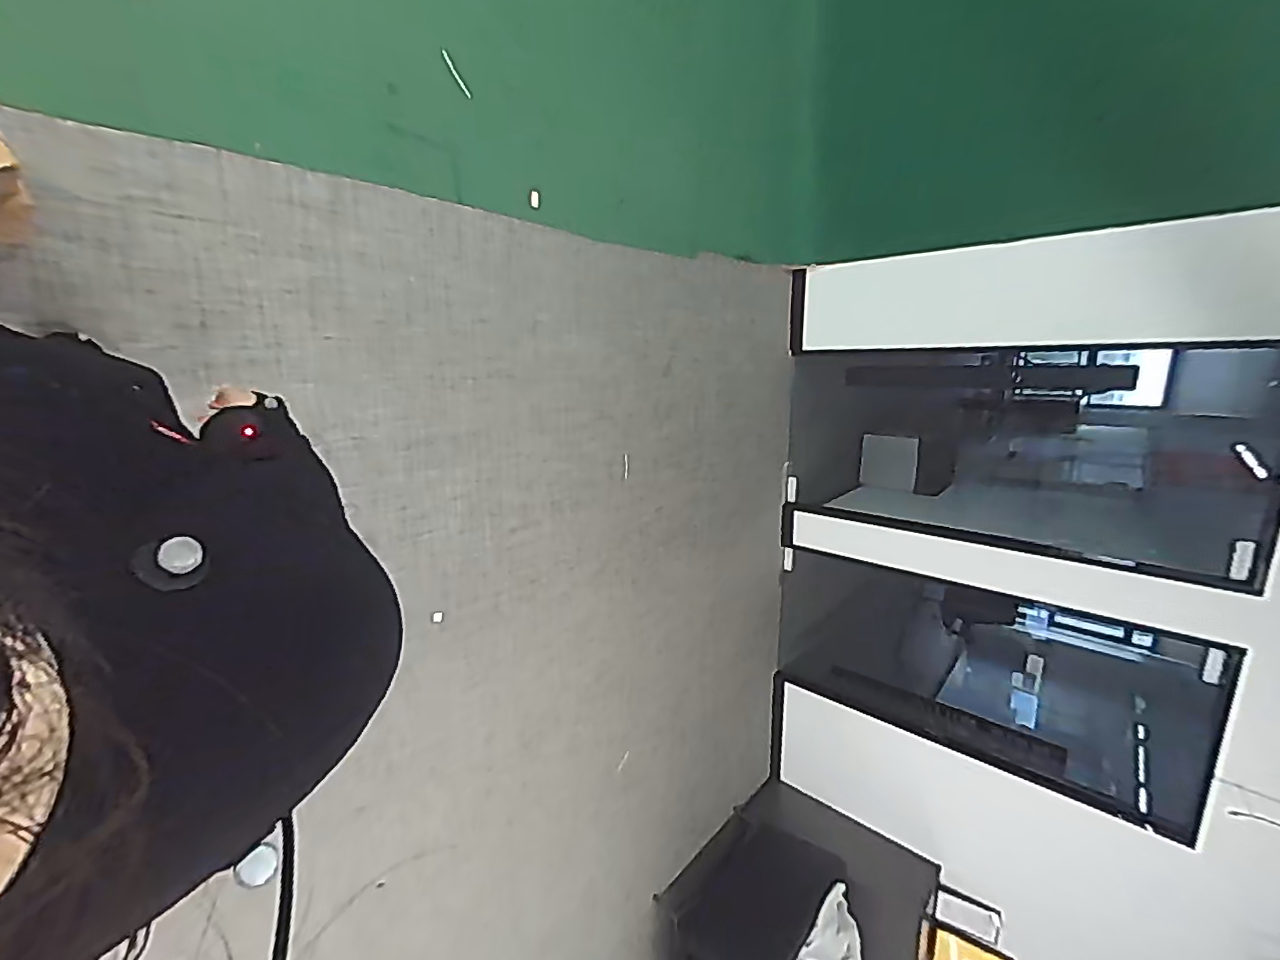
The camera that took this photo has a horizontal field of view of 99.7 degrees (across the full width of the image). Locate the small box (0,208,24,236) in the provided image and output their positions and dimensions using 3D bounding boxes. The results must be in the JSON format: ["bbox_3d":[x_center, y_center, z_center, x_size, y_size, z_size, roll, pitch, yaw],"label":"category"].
[{"bbox_3d":[-1.114,-0.480,0.839,0.179,0.176,0.168,-24,117,-45],"label":"small box"}]

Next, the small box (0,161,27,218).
[{"bbox_3d":[-0.998,-0.443,0.731,0.179,0.176,0.168,-38,127,-38],"label":"small box"}]

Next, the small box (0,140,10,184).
[{"bbox_3d":[-0.887,-0.419,0.613,0.179,0.176,0.168,-43,129,-35],"label":"small box"}]
